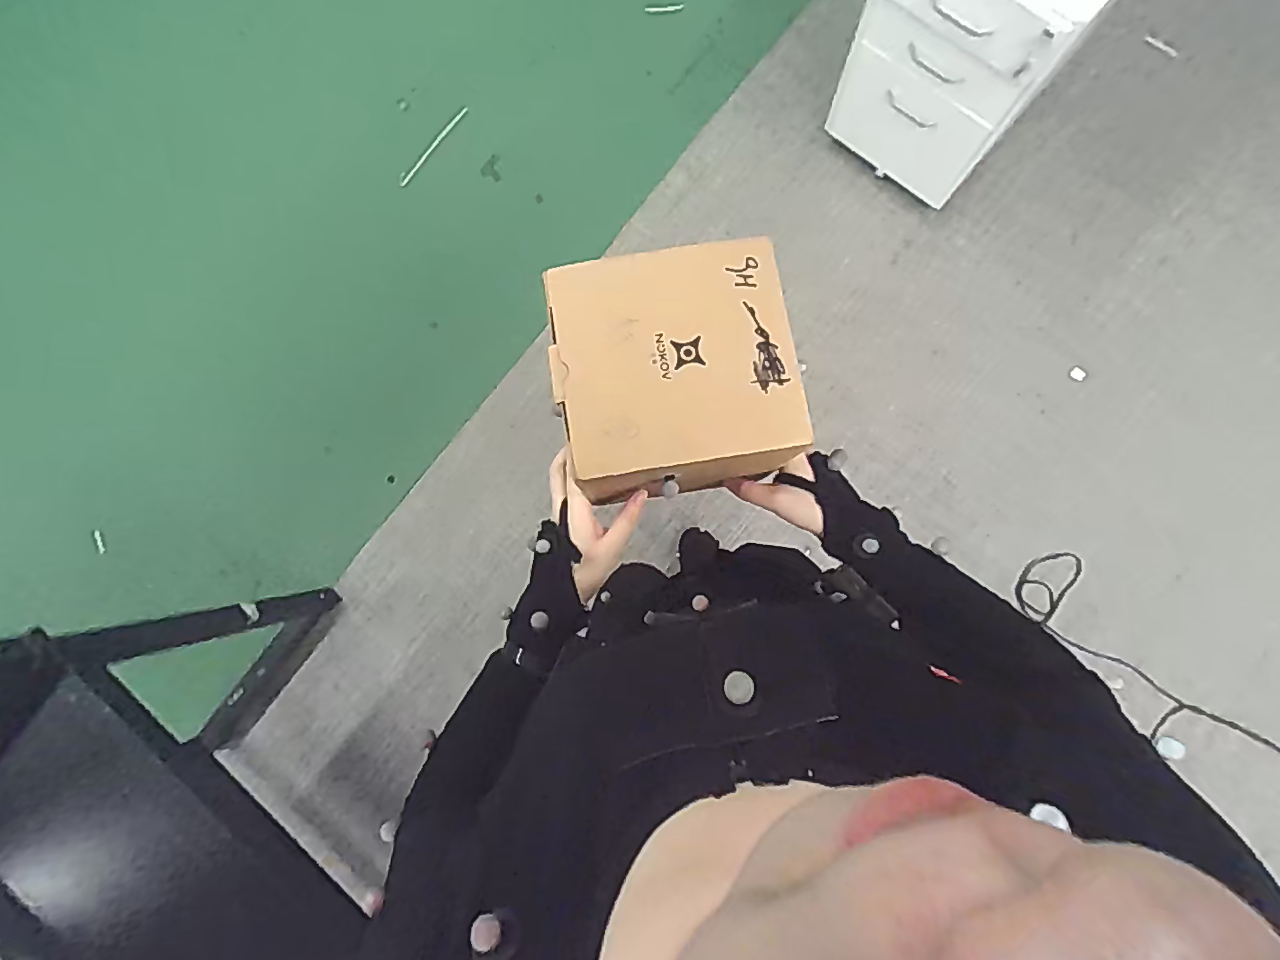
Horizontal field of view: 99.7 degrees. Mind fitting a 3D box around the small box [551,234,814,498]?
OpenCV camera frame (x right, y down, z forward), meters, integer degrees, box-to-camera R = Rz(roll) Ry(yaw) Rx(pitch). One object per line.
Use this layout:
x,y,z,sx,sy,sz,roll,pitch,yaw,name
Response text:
0.030,-0.083,0.476,0.179,0.176,0.168,-9,82,-1,small box
